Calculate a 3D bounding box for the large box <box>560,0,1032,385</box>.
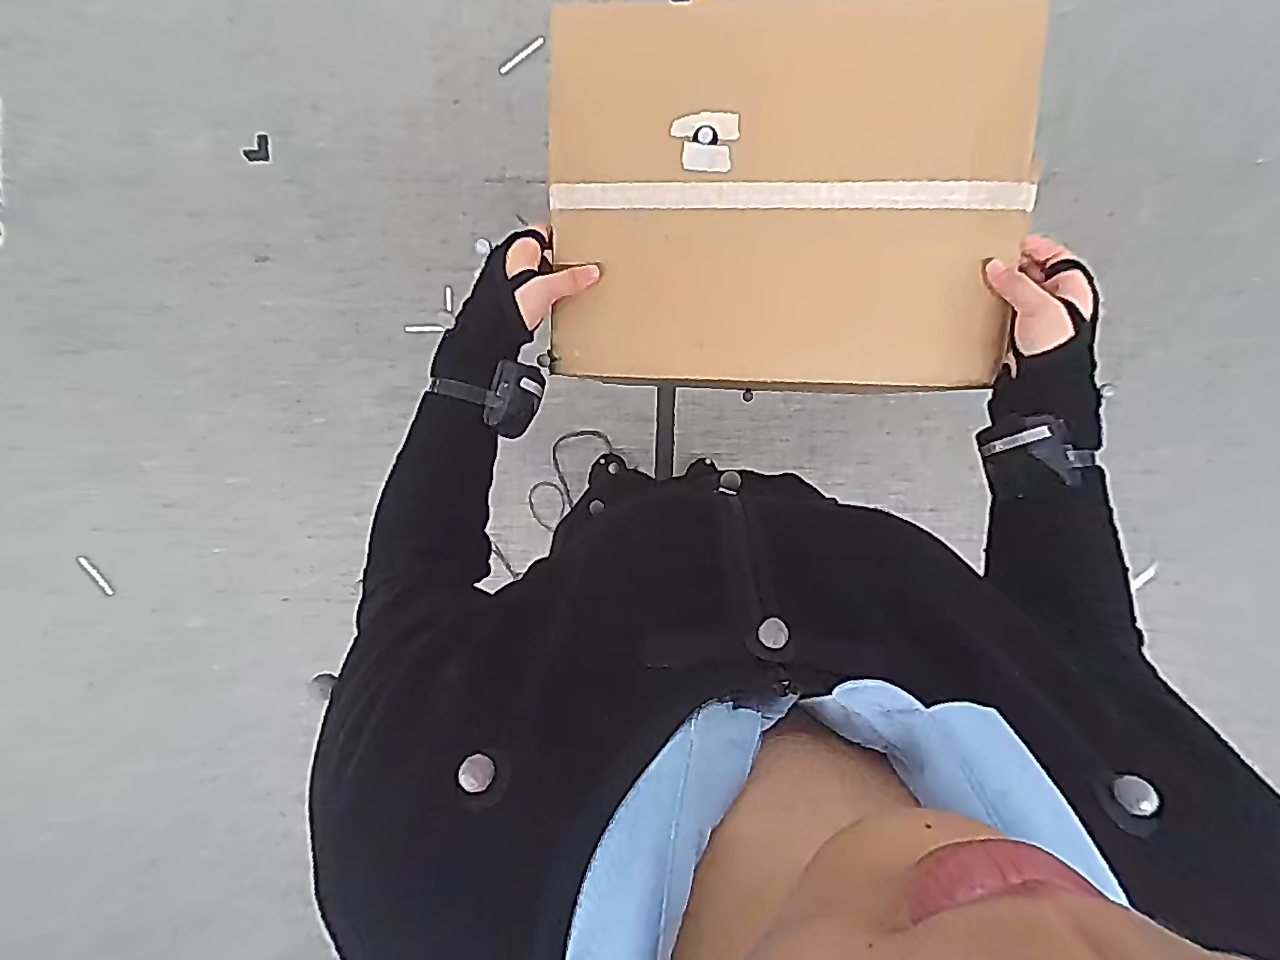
[{"bbox_3d":[0.141,-0.269,0.629,0.408,0.320,0.320,3,97,6],"label":"large box"}]
